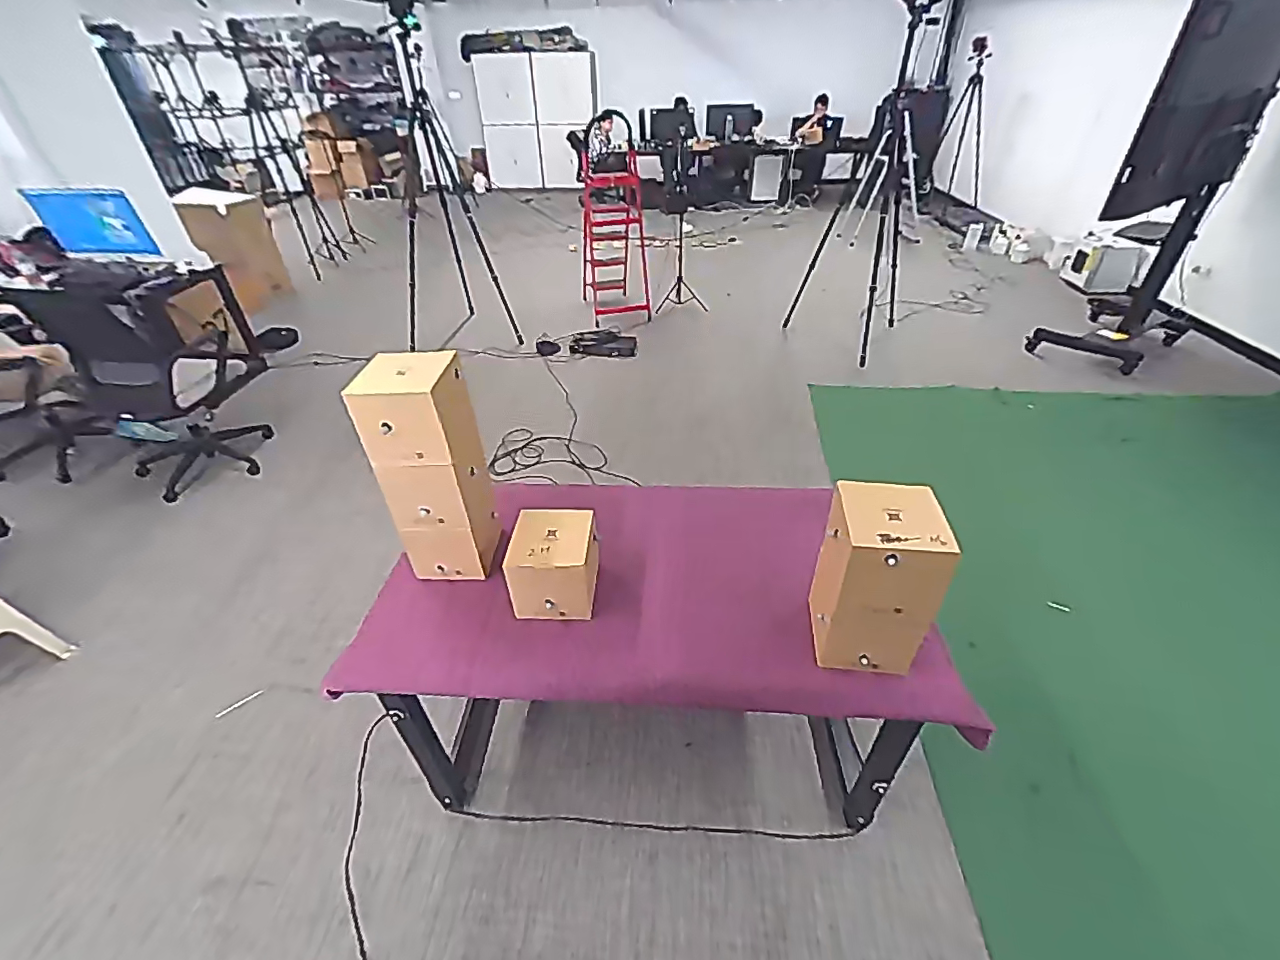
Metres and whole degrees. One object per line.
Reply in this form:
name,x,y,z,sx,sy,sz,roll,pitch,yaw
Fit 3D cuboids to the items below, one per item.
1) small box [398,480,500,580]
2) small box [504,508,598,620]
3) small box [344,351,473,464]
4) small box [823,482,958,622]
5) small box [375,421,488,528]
small box,-0.441,0.115,1.282,0.168,0.176,0.179,0,38,2
small box,-0.185,0.182,1.186,0.168,0.176,0.179,0,38,3
small box,-0.448,-0.143,1.084,0.168,0.176,0.179,-1,37,2
small box,0.430,0.125,0.964,0.168,0.176,0.179,3,36,8
small box,-0.443,-0.015,1.183,0.168,0.176,0.179,-1,38,2
